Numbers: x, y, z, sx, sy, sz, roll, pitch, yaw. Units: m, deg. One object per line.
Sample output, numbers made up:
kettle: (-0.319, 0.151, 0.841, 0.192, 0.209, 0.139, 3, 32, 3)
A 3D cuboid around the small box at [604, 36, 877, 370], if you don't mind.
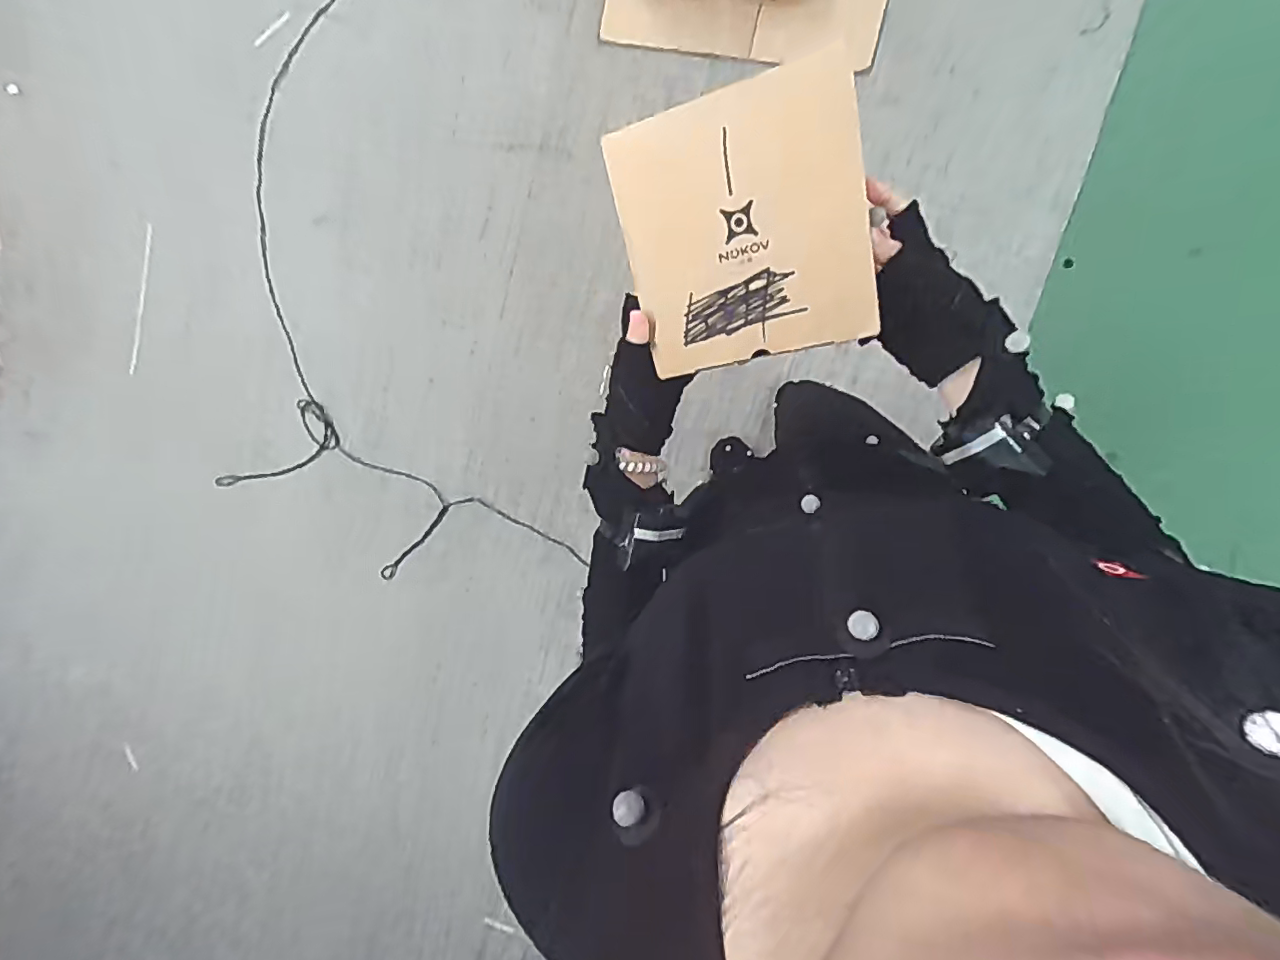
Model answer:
small box: (0.094, -0.207, 0.442, 0.168, 0.176, 0.179, -8, 111, 21)
